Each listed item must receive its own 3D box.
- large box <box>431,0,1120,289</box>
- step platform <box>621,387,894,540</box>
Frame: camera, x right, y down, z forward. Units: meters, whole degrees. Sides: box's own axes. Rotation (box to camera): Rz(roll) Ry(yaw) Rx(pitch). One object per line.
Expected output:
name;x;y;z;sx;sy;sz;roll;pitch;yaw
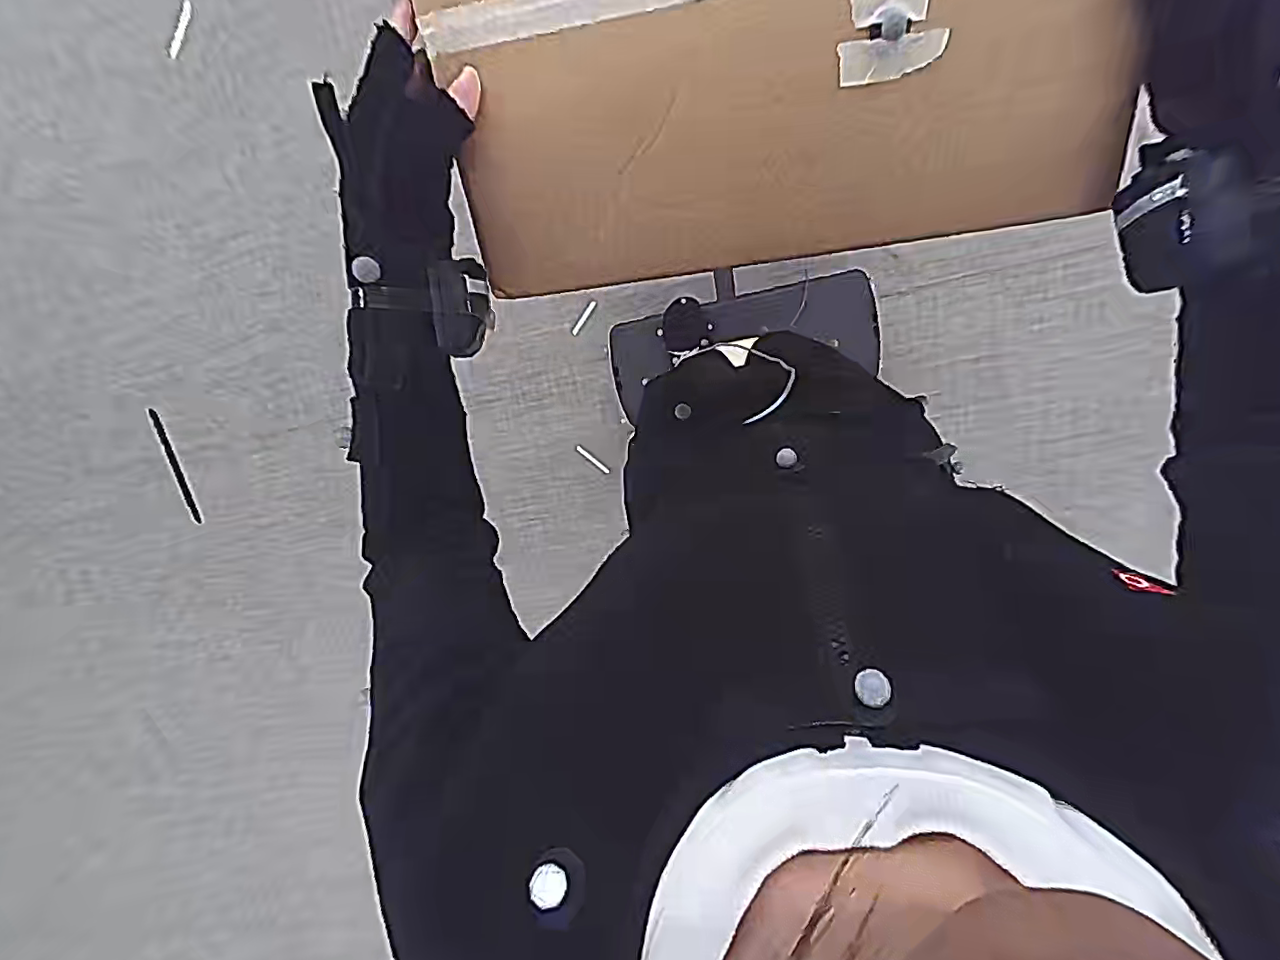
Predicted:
large box;0.080;-0.367;0.444;0.408;0.320;0.320;-6;117;9
step platform;0.294;-0.039;1.427;0.684;0.204;0.286;-10;101;12
